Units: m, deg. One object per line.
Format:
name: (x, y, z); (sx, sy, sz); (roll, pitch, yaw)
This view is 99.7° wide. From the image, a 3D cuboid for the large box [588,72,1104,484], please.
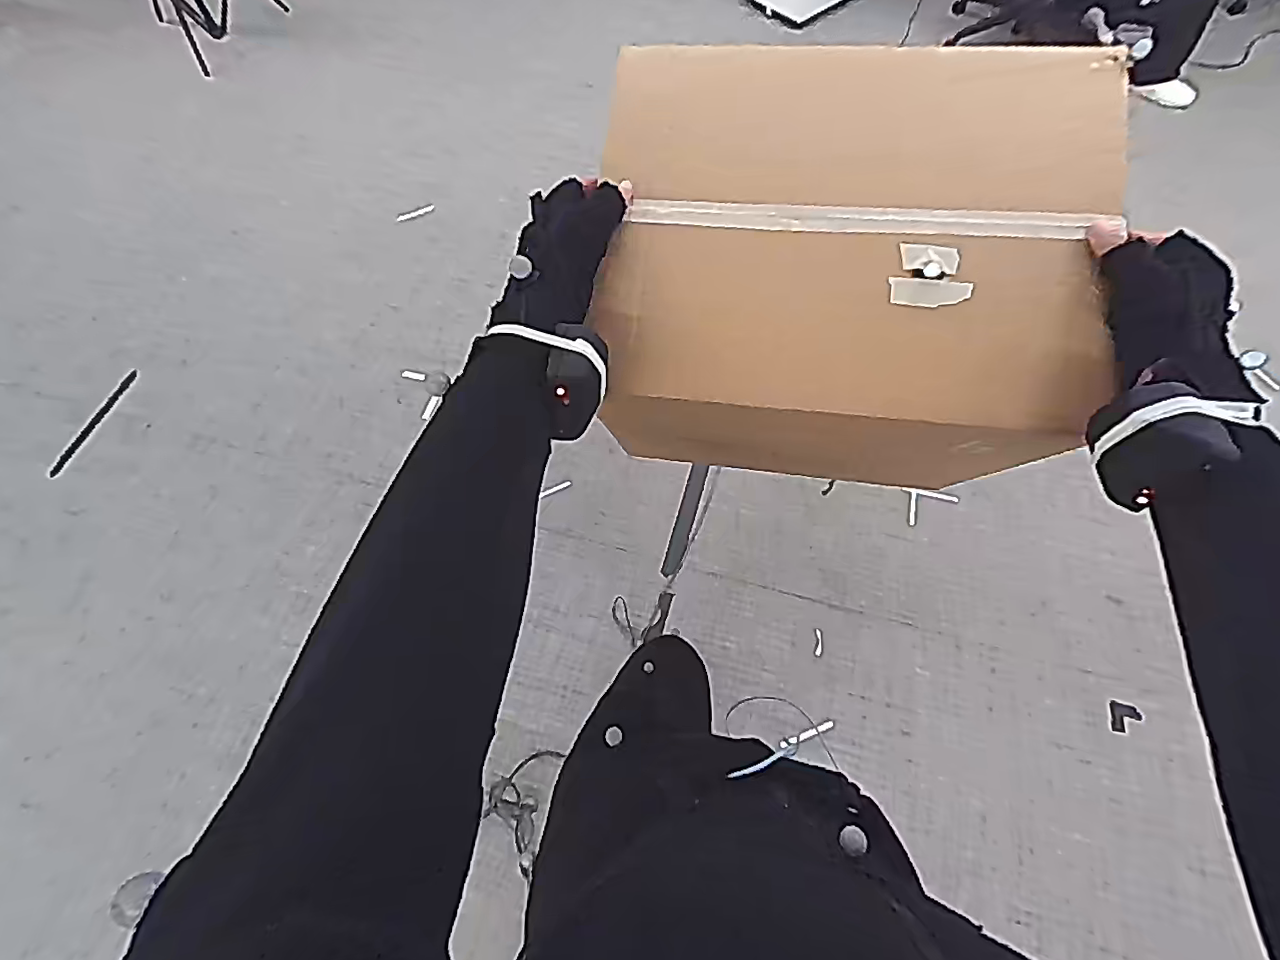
large box: (0.182, -0.183, 0.598); (0.408, 0.320, 0.320); (6, 84, 8)
